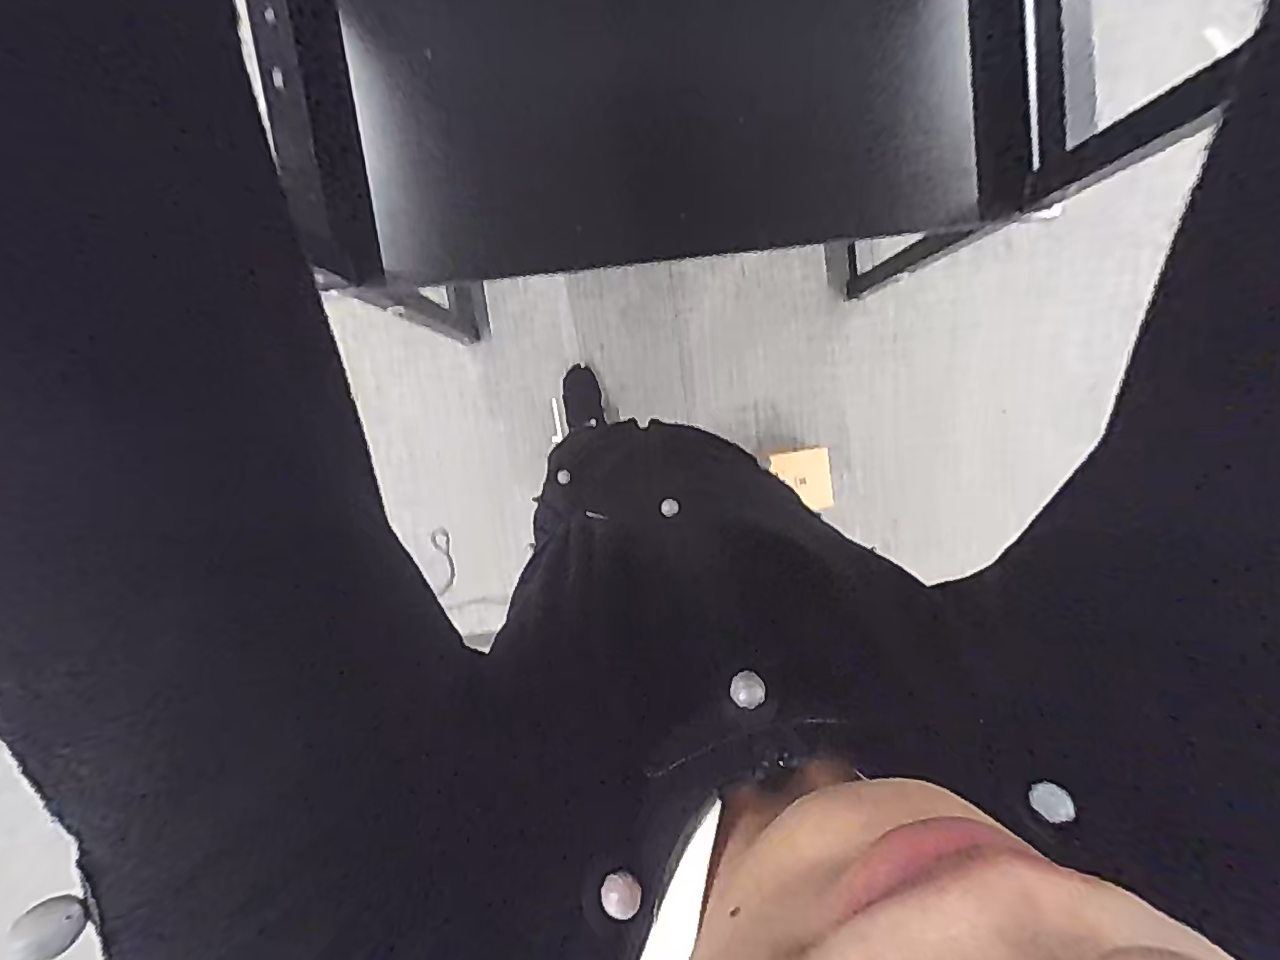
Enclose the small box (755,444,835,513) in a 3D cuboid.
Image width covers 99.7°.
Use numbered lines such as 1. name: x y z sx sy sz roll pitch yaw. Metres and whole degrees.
1. small box: 0.443 -0.009 1.563 0.179 0.176 0.168 -9 97 1
